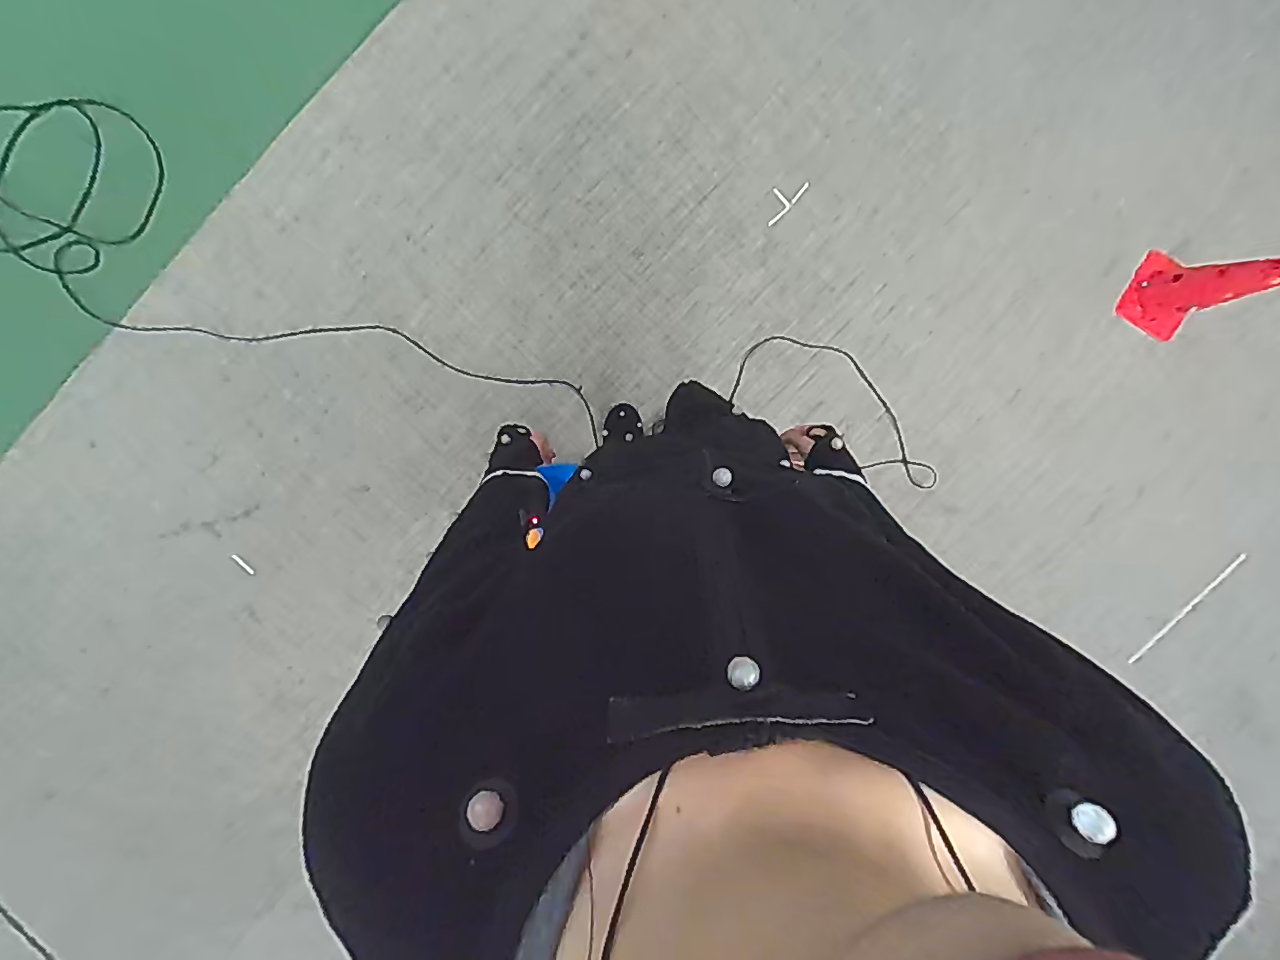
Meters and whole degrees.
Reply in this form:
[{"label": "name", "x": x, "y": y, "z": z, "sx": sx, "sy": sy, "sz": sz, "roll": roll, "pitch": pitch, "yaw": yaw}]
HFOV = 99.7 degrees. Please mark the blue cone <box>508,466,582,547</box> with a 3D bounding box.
[{"label": "blue cone", "x": -0.239, "y": 0.087, "z": 1.302, "sx": 0.192, "sy": 0.380, "sz": 0.193, "roll": -2, "pitch": 101, "yaw": -5}]
